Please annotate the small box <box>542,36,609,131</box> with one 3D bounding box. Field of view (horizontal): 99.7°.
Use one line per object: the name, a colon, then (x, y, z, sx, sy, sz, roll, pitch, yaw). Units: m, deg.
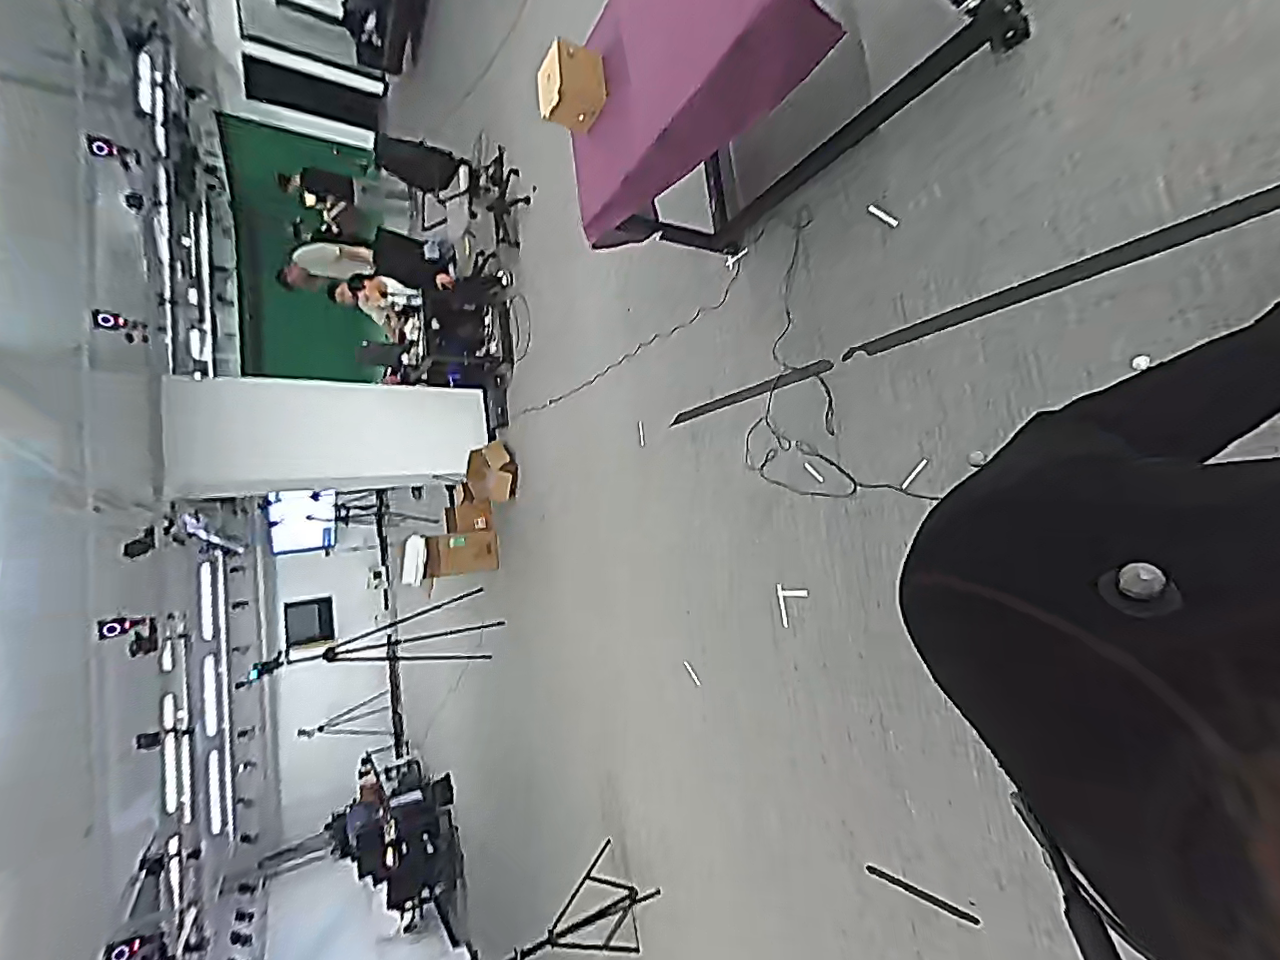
small box: (-0.220, -1.339, 1.841, 0.168, 0.176, 0.179, -12, 83, 57)
